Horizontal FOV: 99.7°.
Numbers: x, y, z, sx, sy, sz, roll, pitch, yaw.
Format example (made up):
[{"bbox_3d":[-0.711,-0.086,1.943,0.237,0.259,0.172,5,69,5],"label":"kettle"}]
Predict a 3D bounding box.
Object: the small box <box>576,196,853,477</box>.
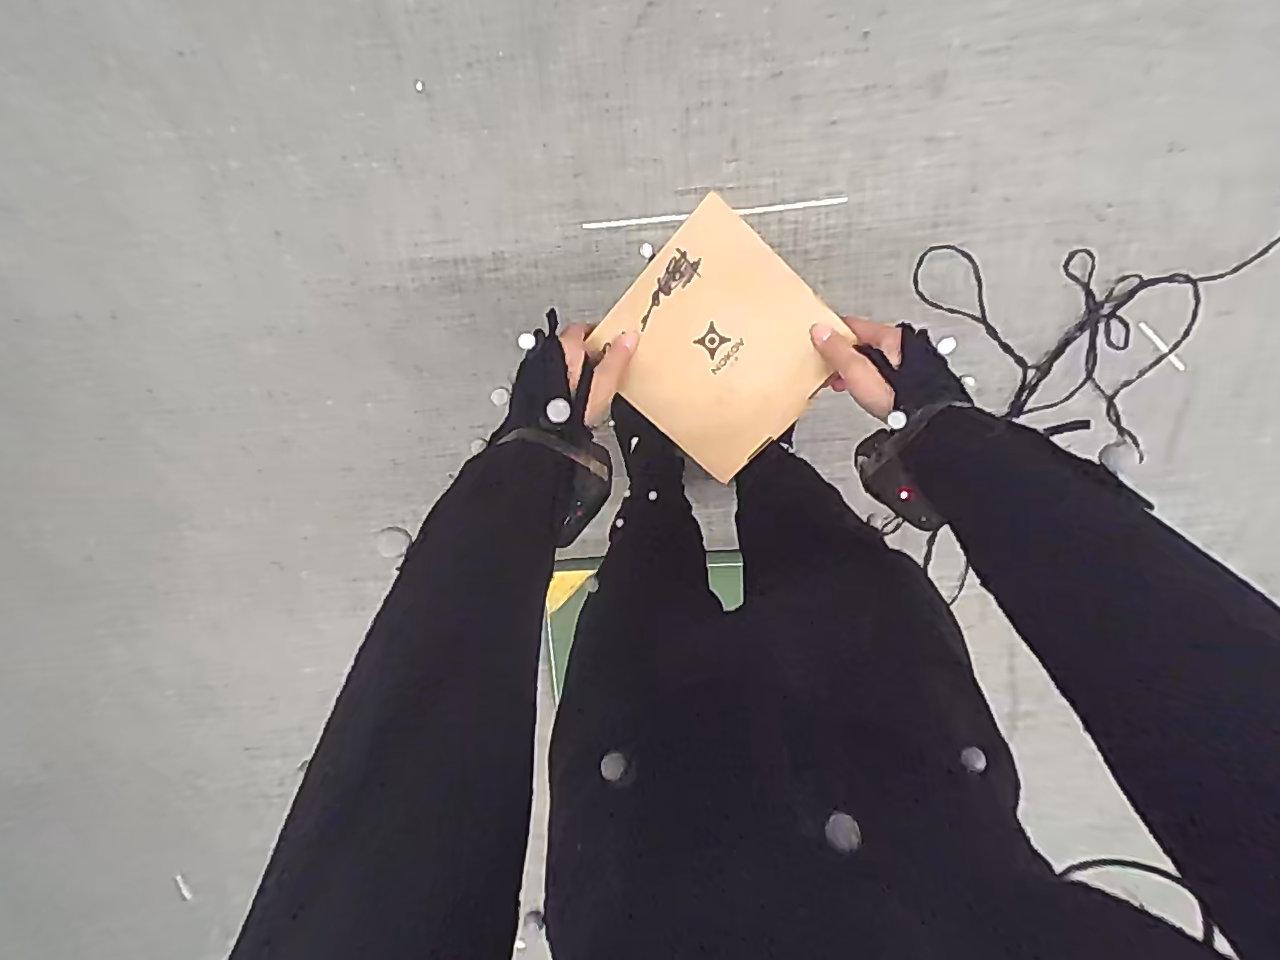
[{"bbox_3d":[0.064,-0.137,0.527,0.179,0.176,0.168,41,104,-12],"label":"small box"}]
